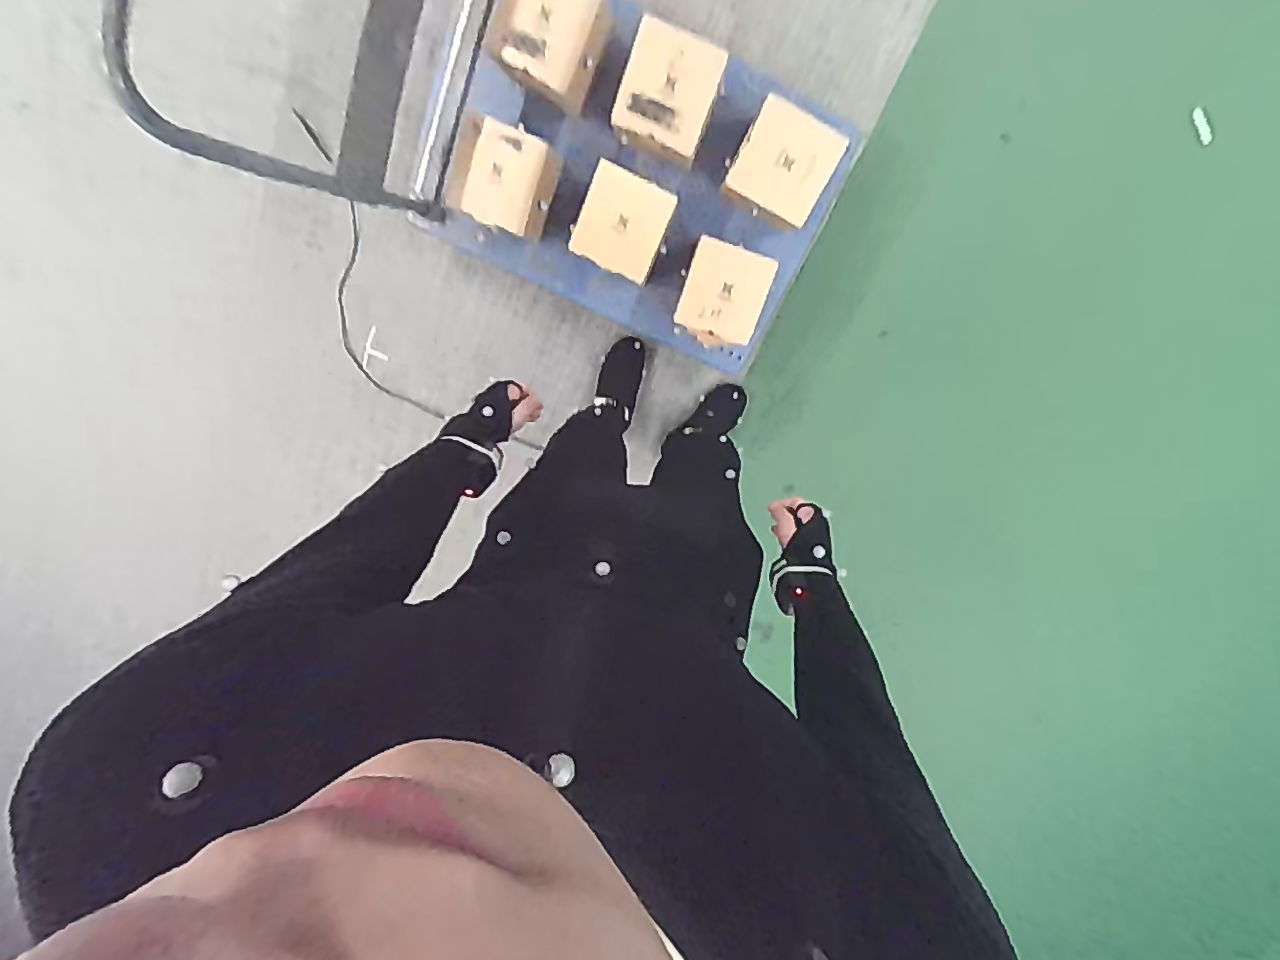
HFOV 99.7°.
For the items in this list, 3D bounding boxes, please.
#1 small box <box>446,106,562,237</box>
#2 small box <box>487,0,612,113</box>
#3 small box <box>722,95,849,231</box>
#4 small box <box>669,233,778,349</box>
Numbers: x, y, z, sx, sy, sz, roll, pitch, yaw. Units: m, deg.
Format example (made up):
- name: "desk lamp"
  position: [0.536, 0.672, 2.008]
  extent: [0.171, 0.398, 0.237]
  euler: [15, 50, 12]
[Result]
- name: "small box"
  position: [-0.272, -0.619, 1.114]
  extent: [0.168, 0.176, 0.179]
  euler: [22, 111, -6]
- name: "small box"
  position: [-0.162, -0.841, 1.025]
  extent: [0.168, 0.176, 0.179]
  euler: [26, 109, -8]
- name: "small box"
  position: [0.279, -0.621, 1.088]
  extent: [0.179, 0.176, 0.168]
  euler: [27, 111, -7]
- name: "small box"
  position: [0.173, -0.407, 1.170]
  extent: [0.168, 0.176, 0.179]
  euler: [26, 111, -4]
